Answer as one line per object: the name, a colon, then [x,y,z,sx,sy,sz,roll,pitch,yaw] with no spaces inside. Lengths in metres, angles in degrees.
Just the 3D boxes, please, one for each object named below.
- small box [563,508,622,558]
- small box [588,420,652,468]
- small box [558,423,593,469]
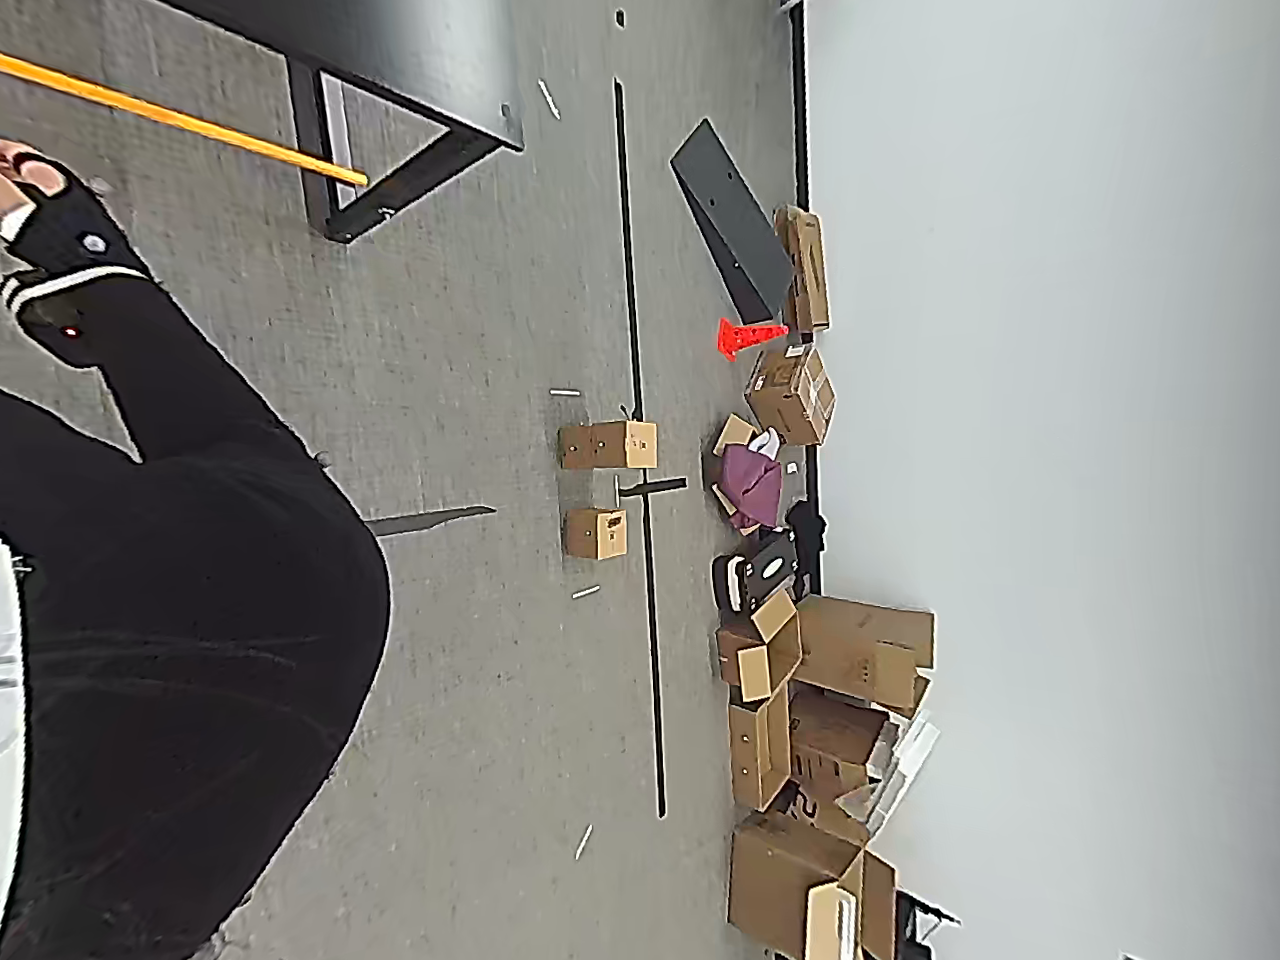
small box: [-0.186,0.202,2.111,0.168,0.176,0.179,-4,95,-51]
small box: [-0.072,-0.129,1.980,0.179,0.176,0.168,-1,91,-51]
small box: [-0.204,-0.131,2.081,0.179,0.176,0.168,-10,98,-50]
